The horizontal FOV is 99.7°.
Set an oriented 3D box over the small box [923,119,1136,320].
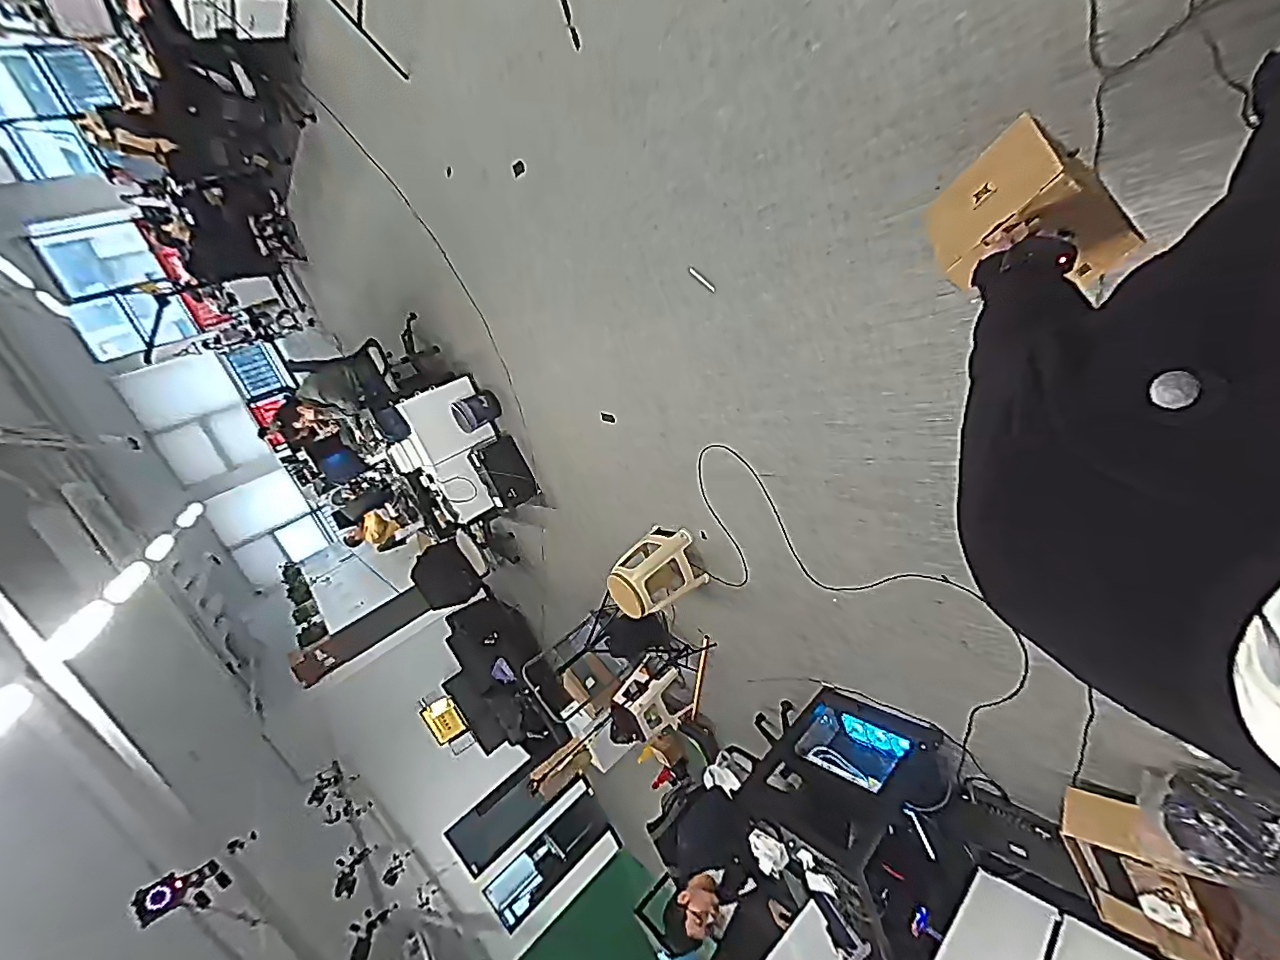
[{"bbox_3d":[0.545,-0.356,0.770,0.176,0.179,0.168,24,142,-19],"label":"small box"}]
